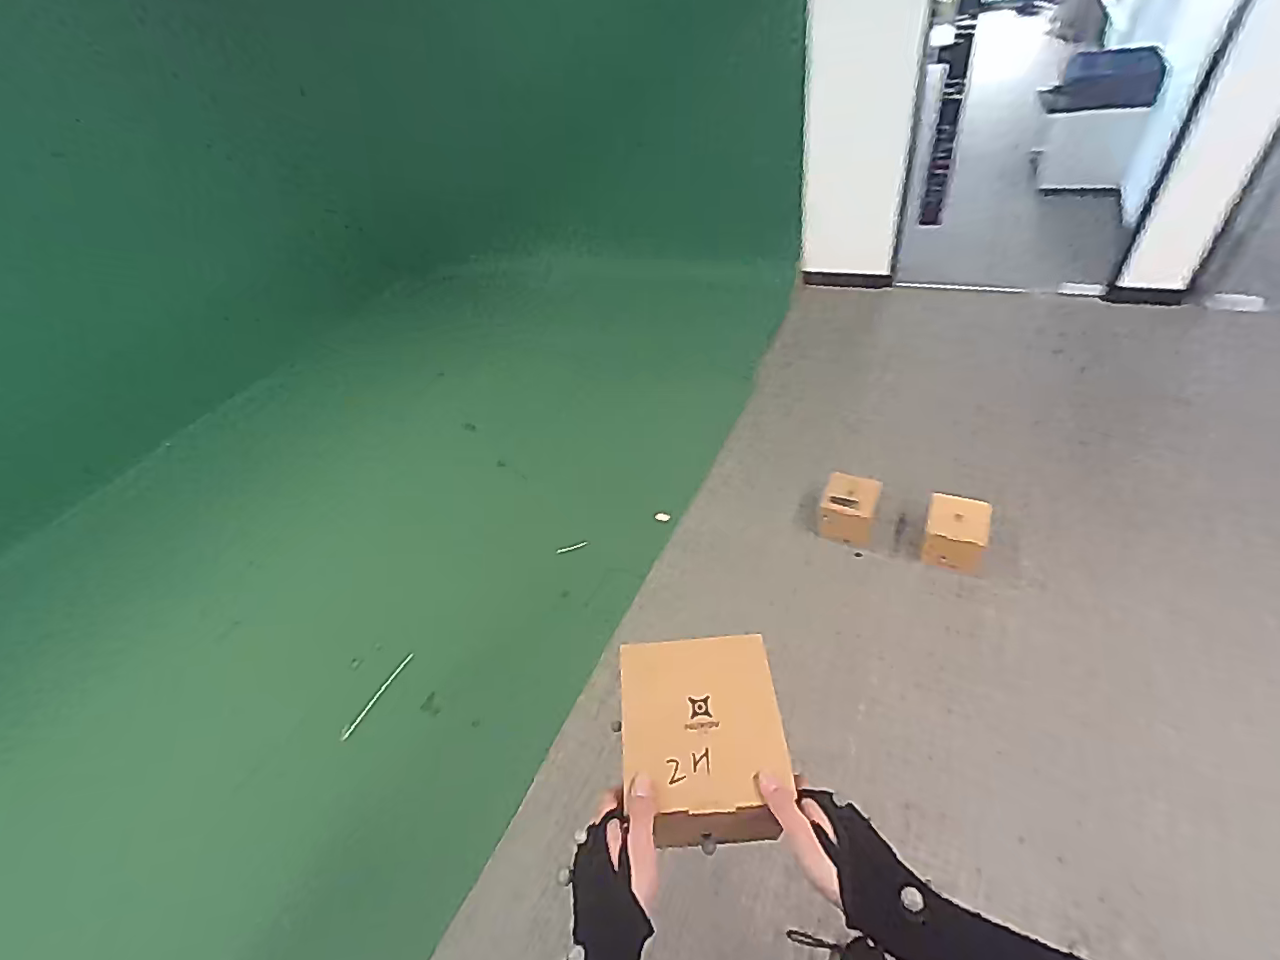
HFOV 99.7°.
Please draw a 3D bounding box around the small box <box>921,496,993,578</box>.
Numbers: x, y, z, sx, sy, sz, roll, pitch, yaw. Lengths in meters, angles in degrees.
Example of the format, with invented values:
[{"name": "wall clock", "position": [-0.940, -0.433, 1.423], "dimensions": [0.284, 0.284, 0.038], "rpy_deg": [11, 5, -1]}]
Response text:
[{"name": "small box", "position": [1.018, 0.185, 1.744], "dimensions": [0.168, 0.176, 0.179], "rpy_deg": [13, 52, 26]}]
